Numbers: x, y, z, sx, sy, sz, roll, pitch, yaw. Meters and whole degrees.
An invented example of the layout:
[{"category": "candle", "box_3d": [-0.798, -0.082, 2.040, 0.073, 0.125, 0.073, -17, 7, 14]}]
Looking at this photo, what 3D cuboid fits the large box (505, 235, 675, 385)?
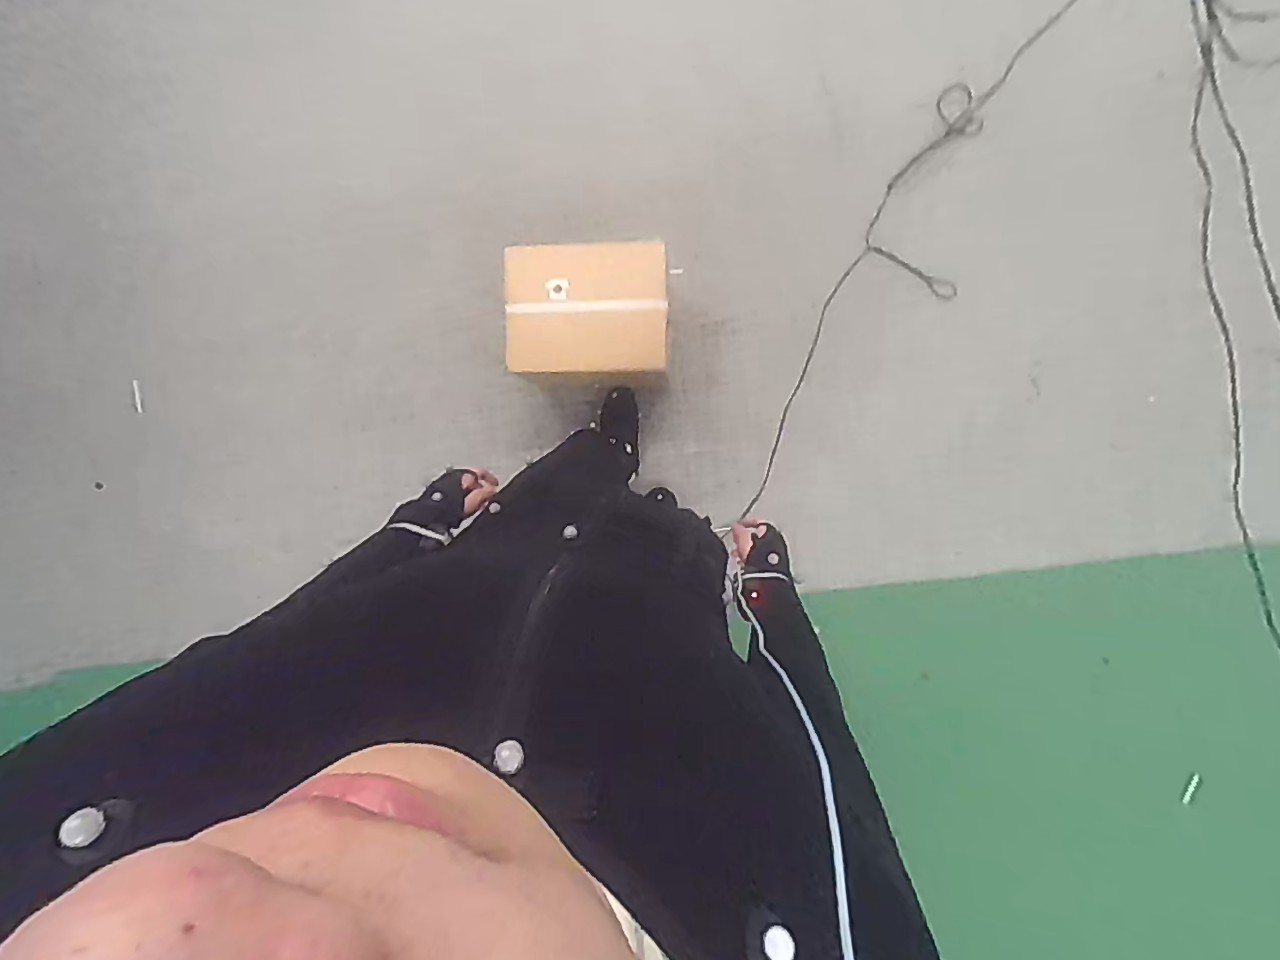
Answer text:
[{"category": "large box", "box_3d": [-0.116, -0.438, 1.474, 0.408, 0.320, 0.320, -1, 91, 6]}]
